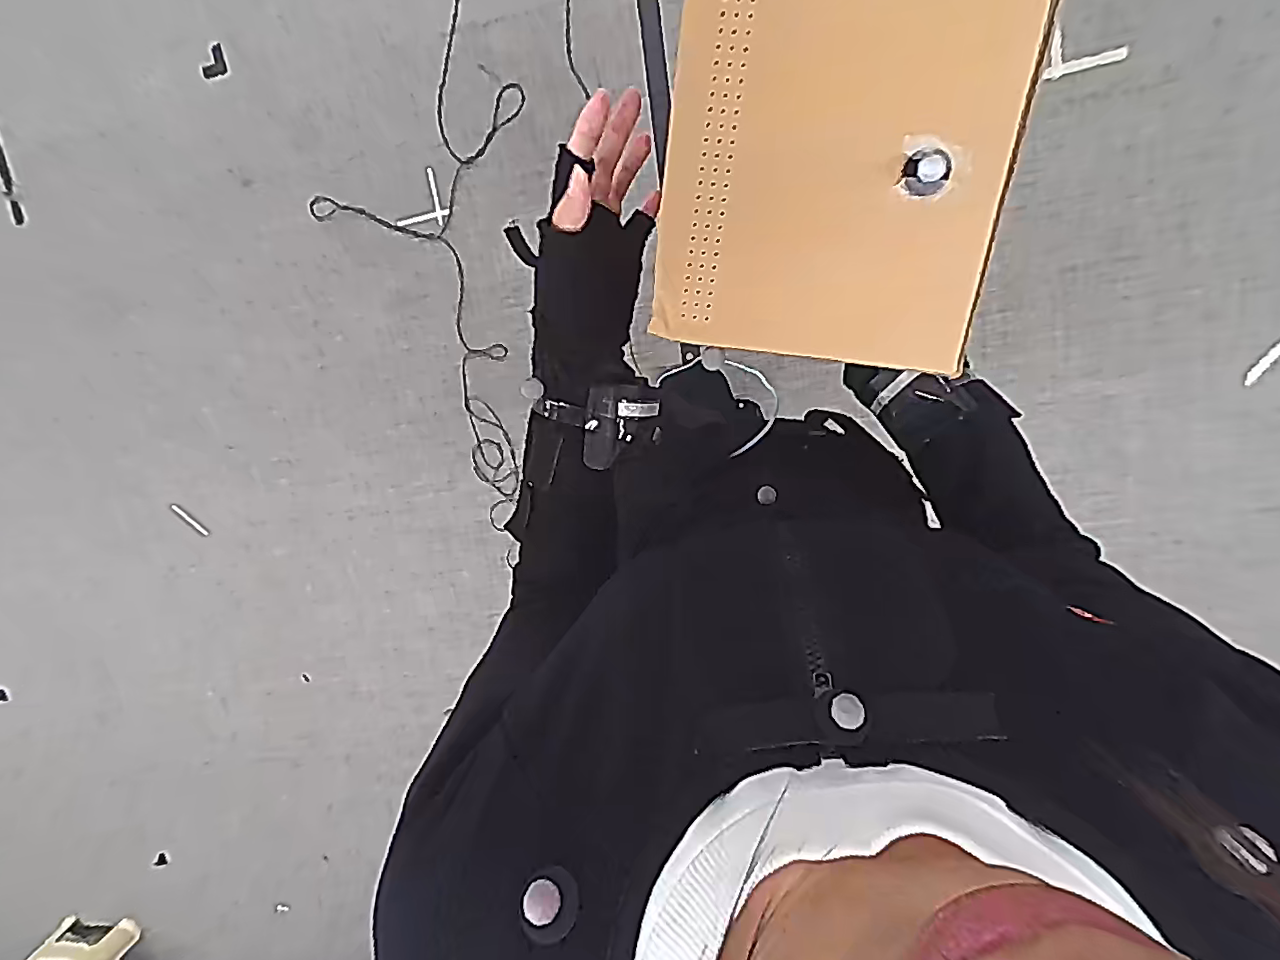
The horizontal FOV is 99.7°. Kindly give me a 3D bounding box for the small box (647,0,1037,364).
[{"bbox_3d":[0.099,-0.175,0.350,0.176,0.168,0.179,8,106,5],"label":"small box"}]
